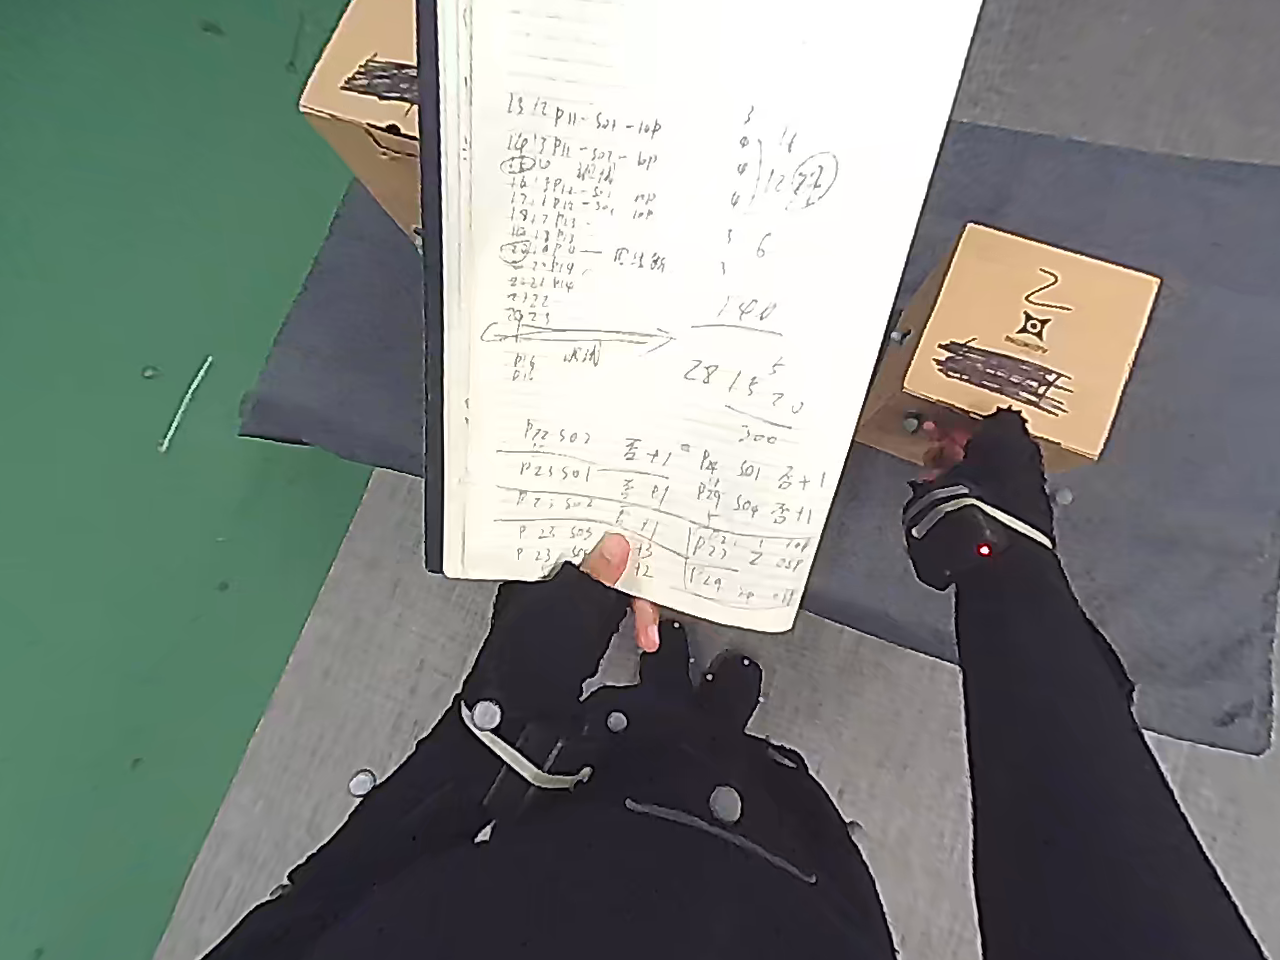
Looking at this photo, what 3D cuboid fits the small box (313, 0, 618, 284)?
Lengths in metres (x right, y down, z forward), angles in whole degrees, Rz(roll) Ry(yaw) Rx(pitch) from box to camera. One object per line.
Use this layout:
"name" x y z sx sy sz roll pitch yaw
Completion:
"small box" -0.129 -0.307 0.477 0.168 0.176 0.179 21 81 10

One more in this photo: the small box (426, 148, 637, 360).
"small box" -0.109 -0.271 0.636 0.168 0.176 0.179 20 82 11
